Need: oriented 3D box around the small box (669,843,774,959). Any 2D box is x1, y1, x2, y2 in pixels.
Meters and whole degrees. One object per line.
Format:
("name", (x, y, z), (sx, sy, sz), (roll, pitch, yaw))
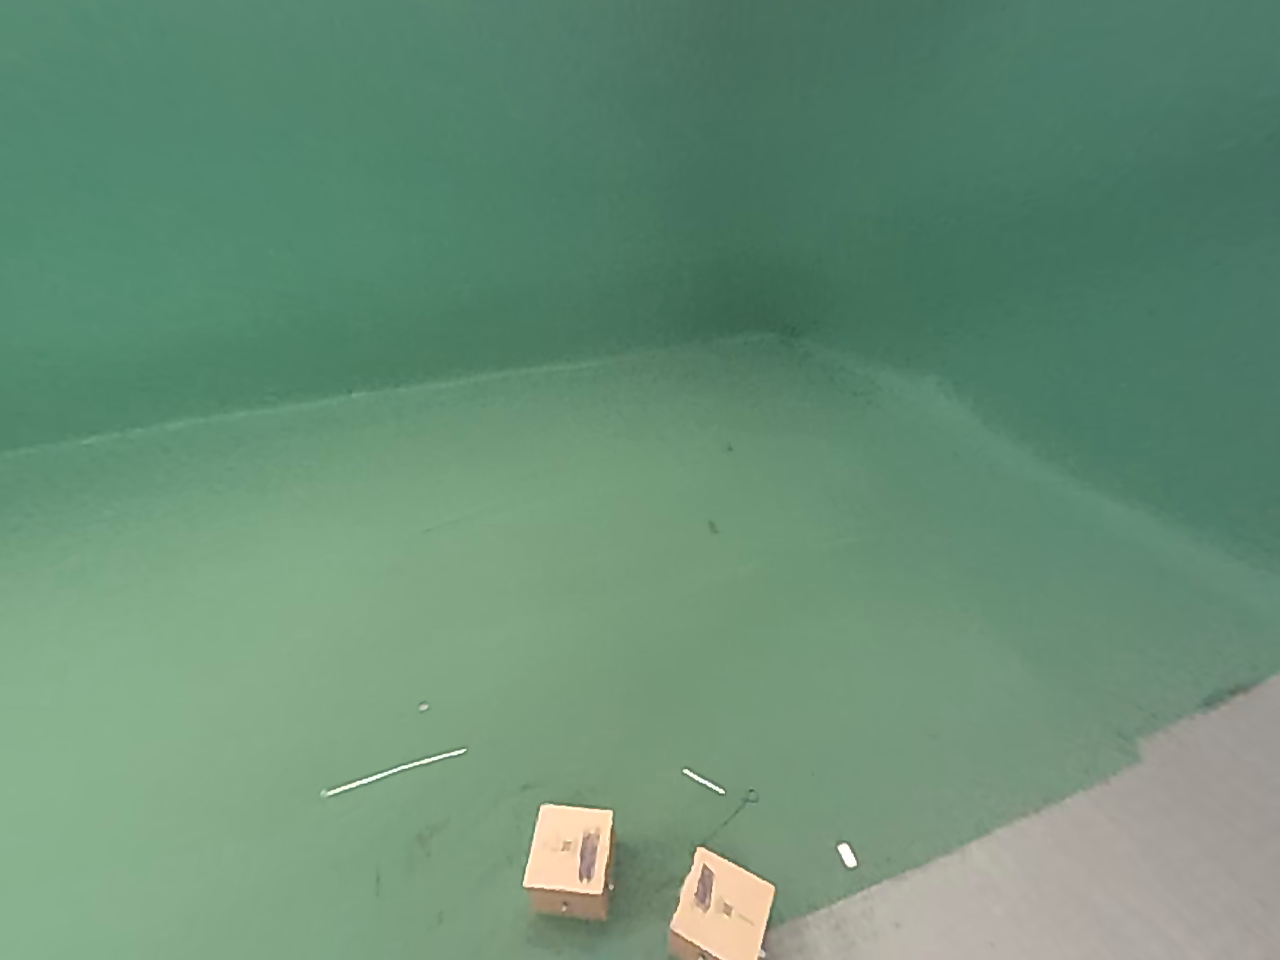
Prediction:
("small box", (0.170, 0.934, 1.157), (0.179, 0.176, 0.168), (17, 40, 21))
